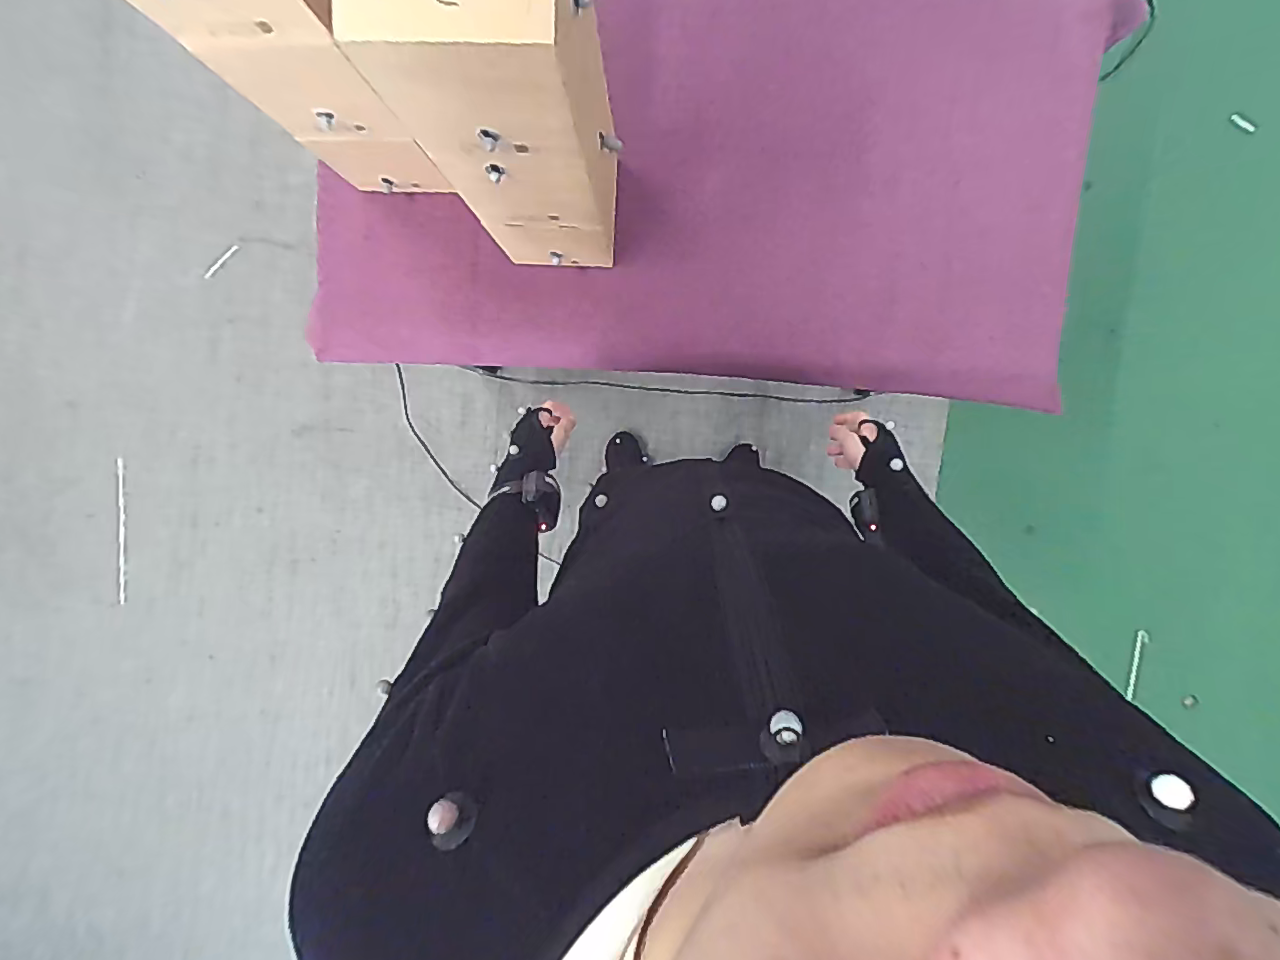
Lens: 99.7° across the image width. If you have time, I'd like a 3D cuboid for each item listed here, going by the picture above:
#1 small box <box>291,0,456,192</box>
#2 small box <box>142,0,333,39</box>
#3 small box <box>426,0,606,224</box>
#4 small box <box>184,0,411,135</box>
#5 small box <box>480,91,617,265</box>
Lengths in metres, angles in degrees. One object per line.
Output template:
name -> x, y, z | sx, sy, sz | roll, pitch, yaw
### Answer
small box -> -0.379, -0.554, 0.795 | 0.168, 0.176, 0.179 | 2, 96, 3
small box -> -0.393, -0.527, 0.470 | 0.168, 0.176, 0.179 | 1, 94, 3
small box -> -0.131, -0.424, 0.630 | 0.168, 0.176, 0.179 | 3, 94, 2
small box -> -0.385, -0.541, 0.632 | 0.168, 0.176, 0.179 | 2, 96, 3
small box -> -0.125, -0.435, 0.794 | 0.168, 0.176, 0.179 | 3, 95, 2
